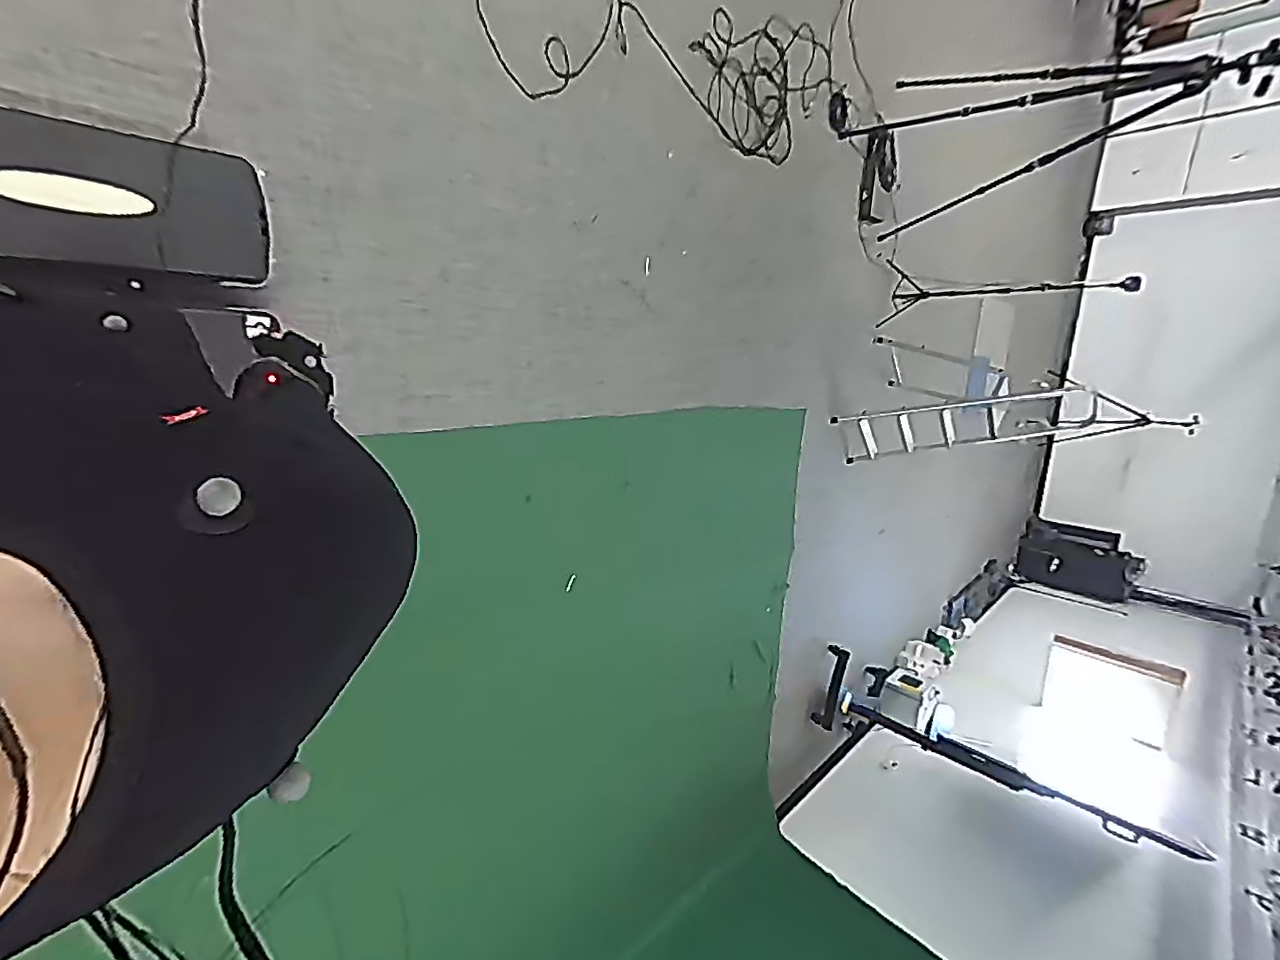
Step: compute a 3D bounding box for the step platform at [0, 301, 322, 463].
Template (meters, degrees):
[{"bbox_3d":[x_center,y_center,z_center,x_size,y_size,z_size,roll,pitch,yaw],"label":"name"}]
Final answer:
[{"bbox_3d":[-0.998,-0.178,0.995,0.684,0.204,0.286,-11,108,-44],"label":"step platform"}]
